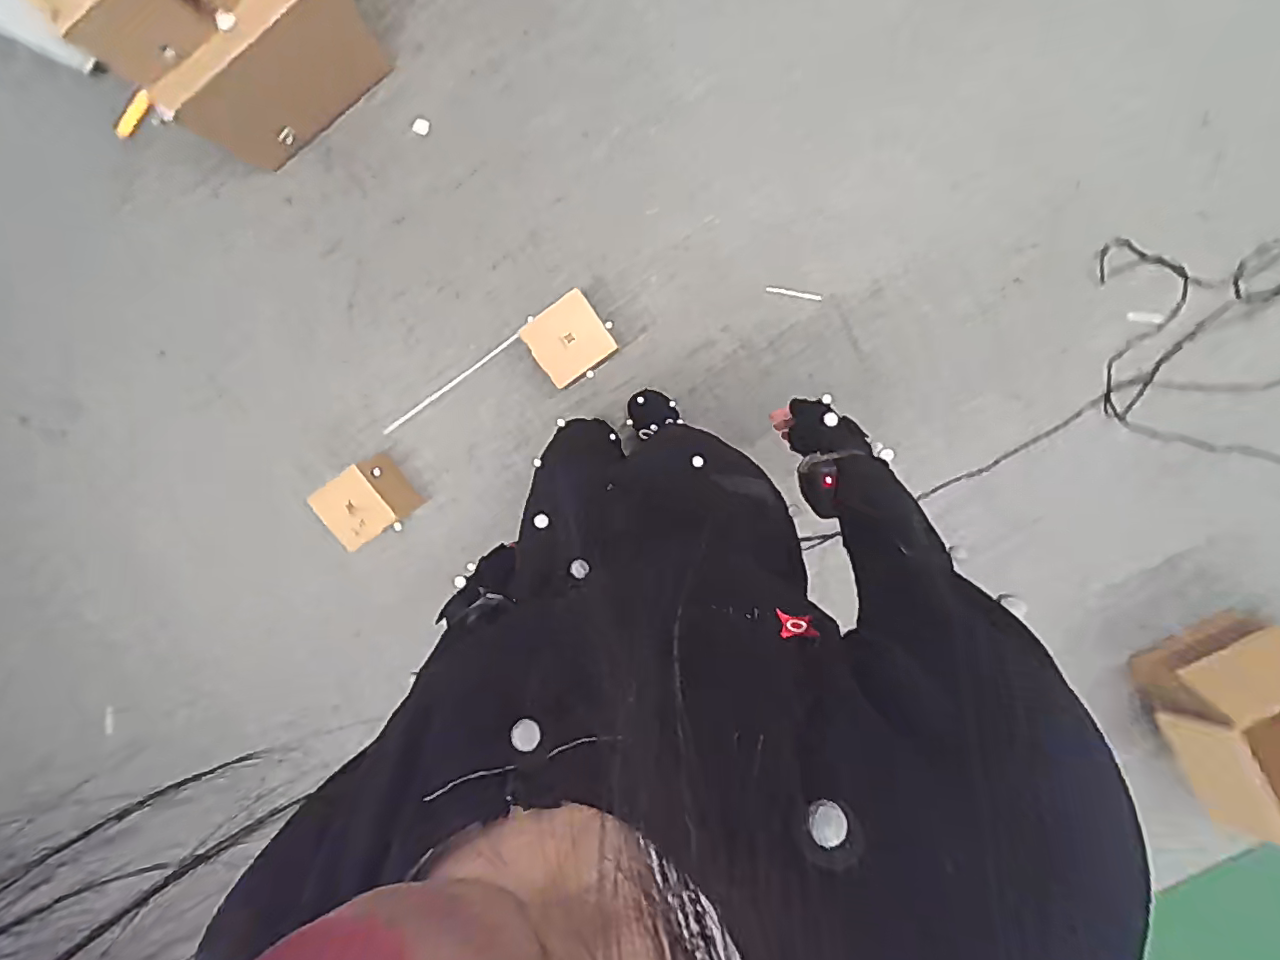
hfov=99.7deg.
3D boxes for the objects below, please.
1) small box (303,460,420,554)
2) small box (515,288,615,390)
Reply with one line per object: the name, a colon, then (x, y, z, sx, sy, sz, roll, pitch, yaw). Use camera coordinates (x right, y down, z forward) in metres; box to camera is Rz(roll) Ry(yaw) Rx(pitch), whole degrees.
small box: (-0.720, 0.061, 1.417, 0.168, 0.176, 0.179, -35, 99, 9)
small box: (-0.174, -0.340, 1.316, 0.179, 0.176, 0.168, -35, 100, 9)
